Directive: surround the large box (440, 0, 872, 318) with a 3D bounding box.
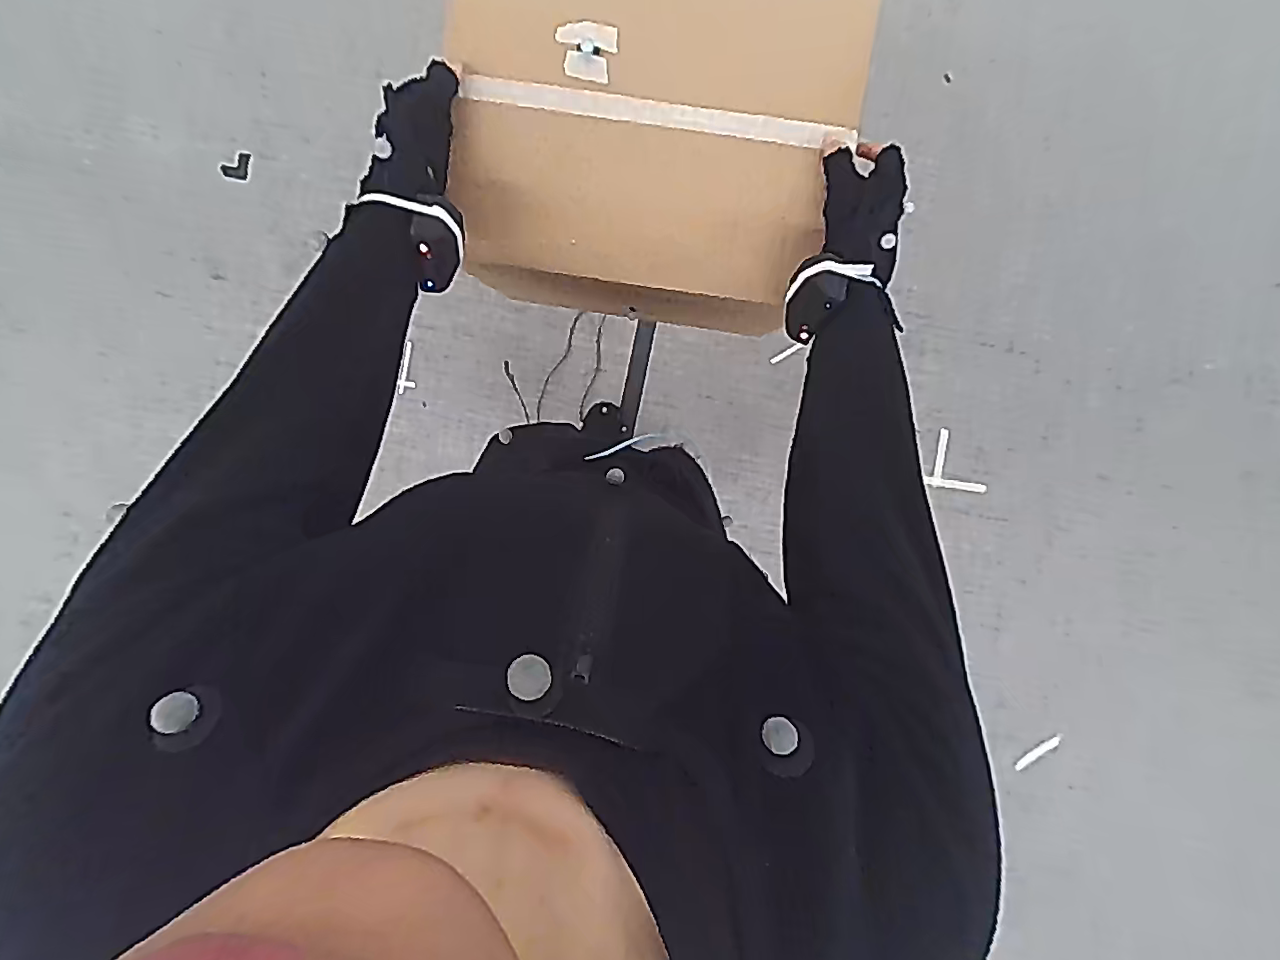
[{"bbox_3d":[0.013,-0.394,0.676,0.408,0.320,0.320,8,100,0],"label":"large box"}]
